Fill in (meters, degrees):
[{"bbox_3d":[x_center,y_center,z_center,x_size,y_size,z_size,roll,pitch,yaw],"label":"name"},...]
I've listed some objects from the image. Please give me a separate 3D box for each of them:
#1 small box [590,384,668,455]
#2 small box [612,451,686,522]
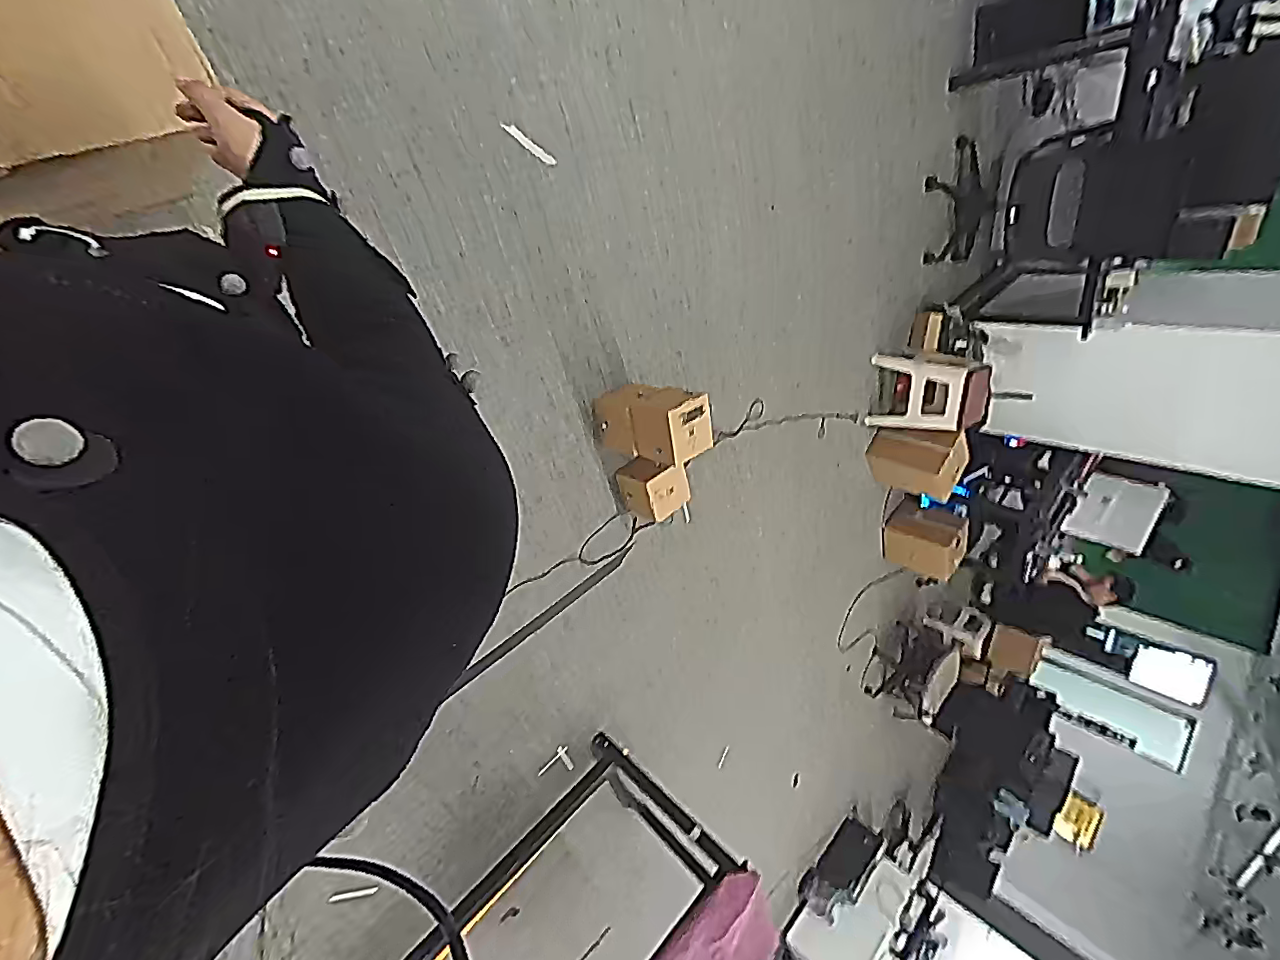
[{"bbox_3d":[-0.036,-0.202,1.745,0.179,0.176,0.168,-29,122,-32],"label":"small box"},{"bbox_3d":[0.031,0.015,1.883,0.179,0.176,0.168,-34,124,-30],"label":"small box"}]
